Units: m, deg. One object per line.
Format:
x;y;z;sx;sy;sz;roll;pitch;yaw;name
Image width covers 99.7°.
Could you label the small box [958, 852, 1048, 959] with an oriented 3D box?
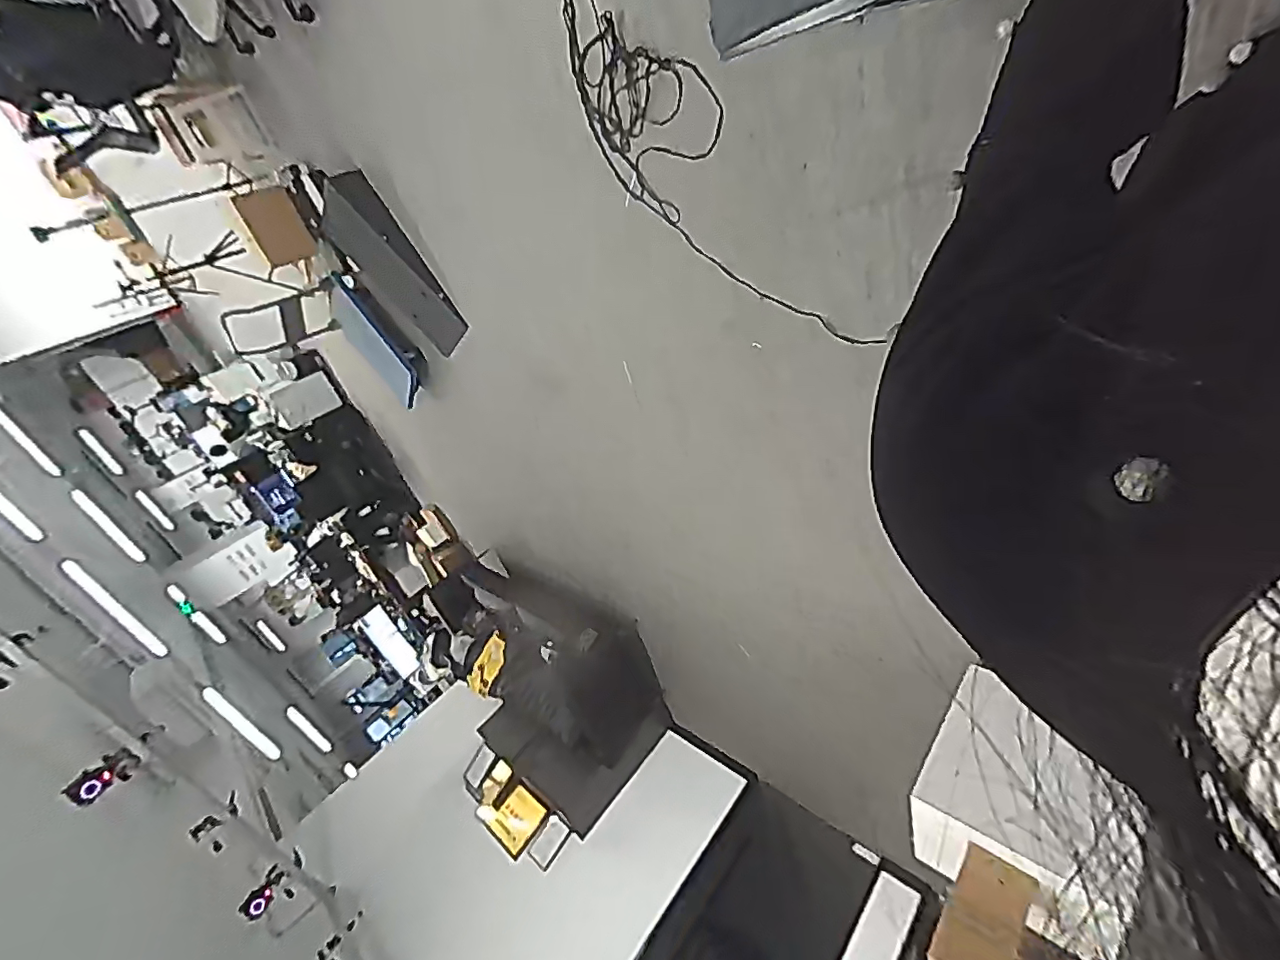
0.991;1.177;1.478;0.168;0.176;0.179;15;135;43;small box
